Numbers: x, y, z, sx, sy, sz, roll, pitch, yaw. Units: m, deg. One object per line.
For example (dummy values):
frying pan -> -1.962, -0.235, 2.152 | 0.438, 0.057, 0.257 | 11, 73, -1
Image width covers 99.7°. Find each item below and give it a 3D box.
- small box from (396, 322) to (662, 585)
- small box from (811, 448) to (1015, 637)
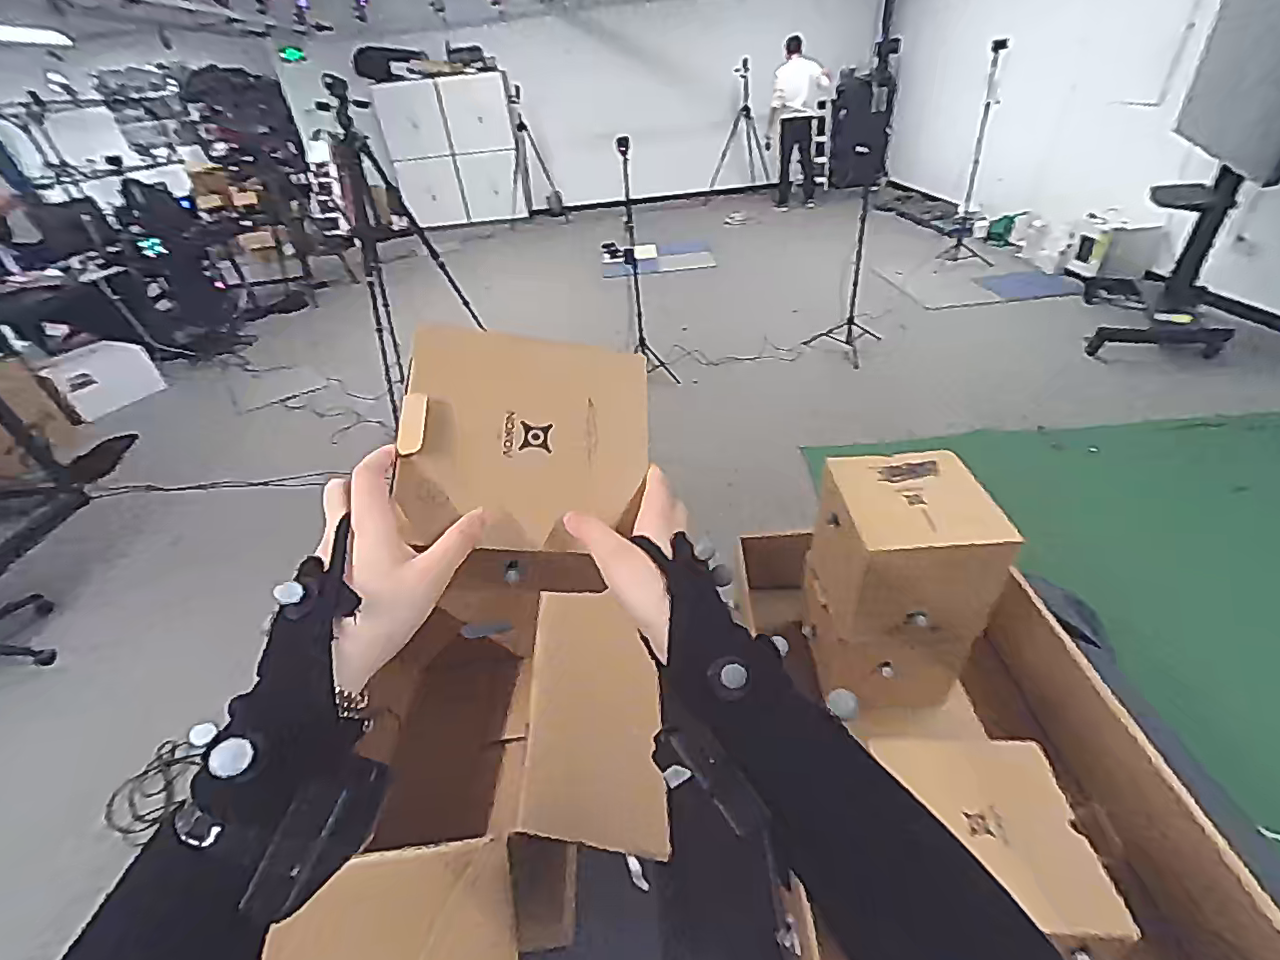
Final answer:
small box -> -0.090, -0.005, 0.453 | 0.179, 0.176, 0.168 | 4, 71, -16
small box -> 0.329, 0.079, 0.699 | 0.168, 0.176, 0.179 | -4, 38, 3
